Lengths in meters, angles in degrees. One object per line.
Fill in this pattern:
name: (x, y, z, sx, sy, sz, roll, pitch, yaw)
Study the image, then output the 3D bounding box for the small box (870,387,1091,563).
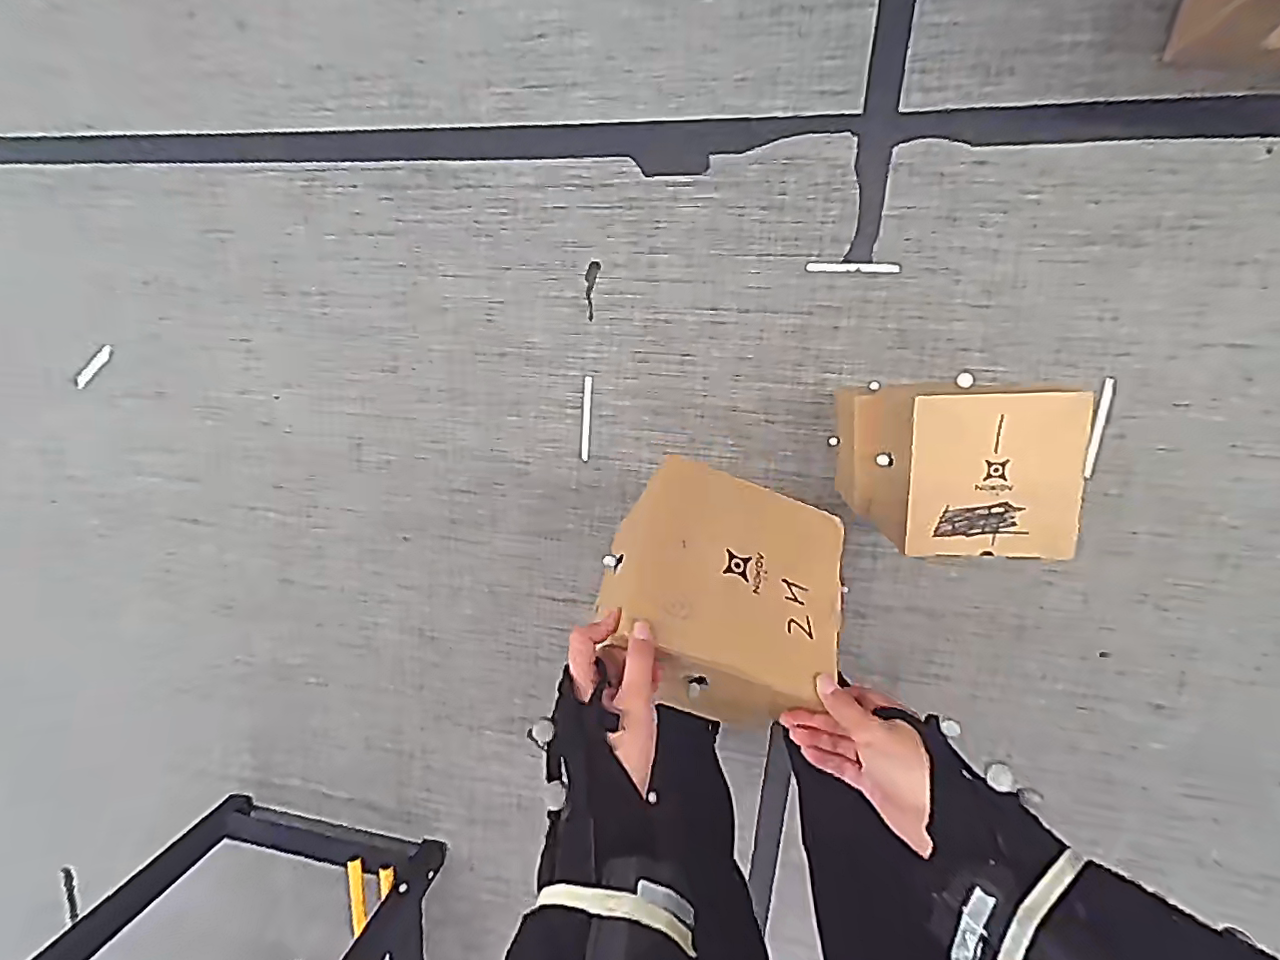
small box: (0.377, -0.017, 0.635, 0.168, 0.176, 0.179, 0, 101, 11)

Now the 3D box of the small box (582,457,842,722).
small box: (0.060, 0.112, 0.501, 0.179, 0.168, 0.176, 22, 147, -7)
